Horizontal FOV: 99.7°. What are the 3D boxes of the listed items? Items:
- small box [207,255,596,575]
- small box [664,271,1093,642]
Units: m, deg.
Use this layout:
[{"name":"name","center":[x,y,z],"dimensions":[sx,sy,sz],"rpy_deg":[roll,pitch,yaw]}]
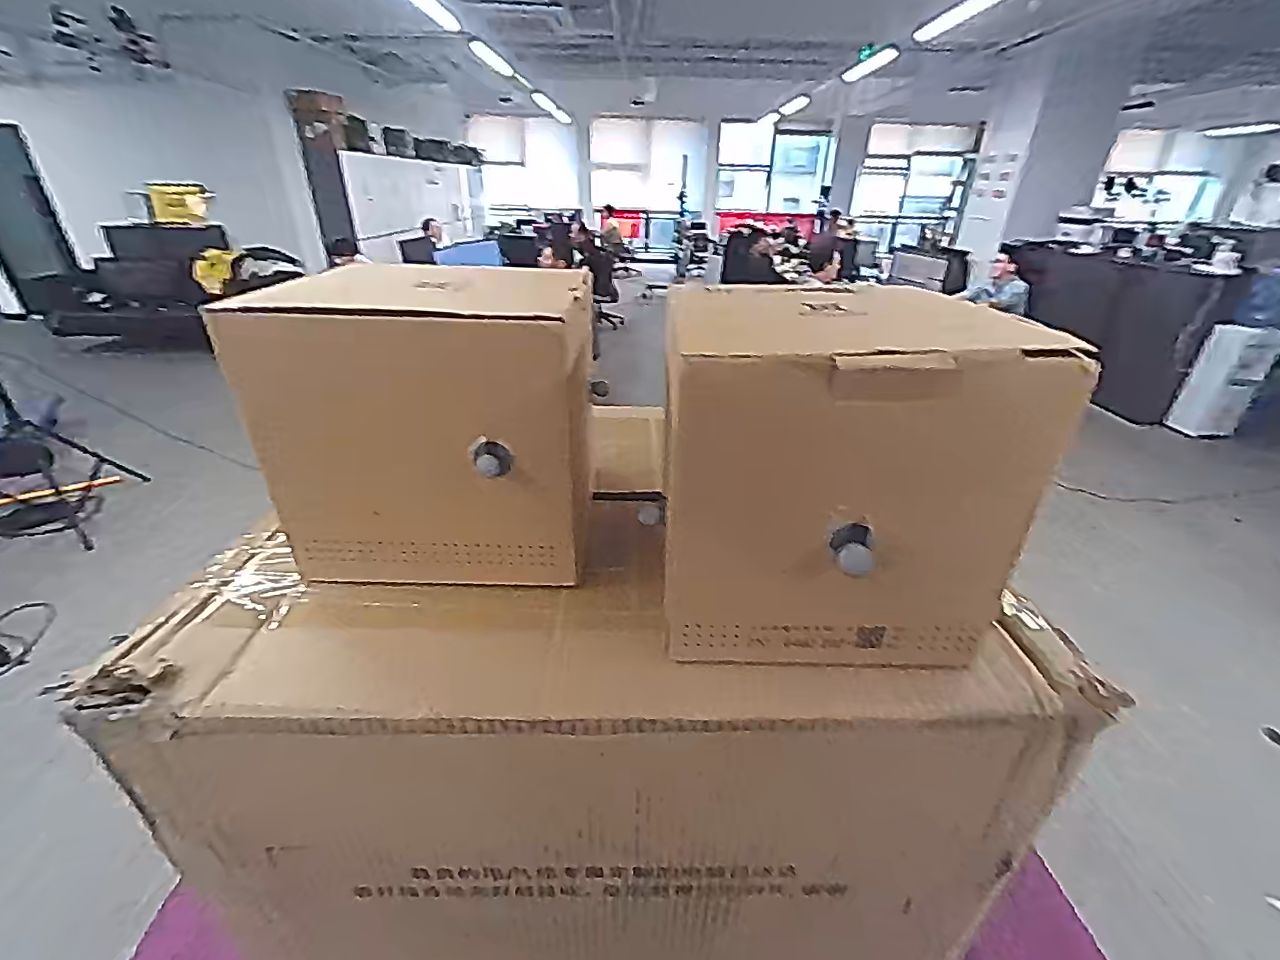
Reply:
[{"name":"small box","center":[-0.121,-0.050,0.363],"dimensions":[0.179,0.176,0.168],"rpy_deg":[0,28,-1]},{"name":"small box","center":[0.099,-0.022,0.322],"dimensions":[0.168,0.176,0.179],"rpy_deg":[0,29,1]}]
